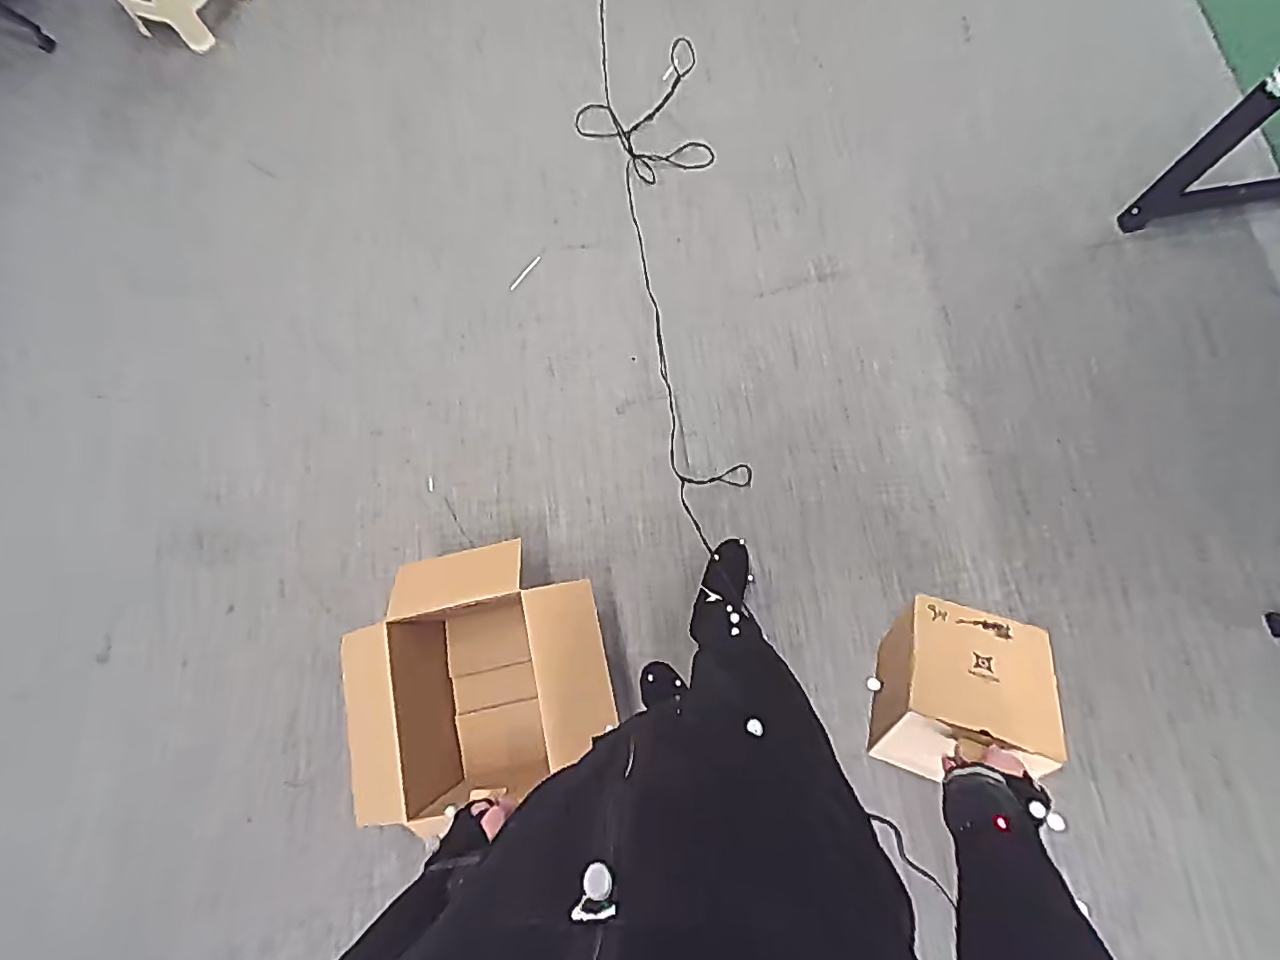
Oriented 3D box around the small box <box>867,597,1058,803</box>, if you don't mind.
[{"bbox_3d":[0.418,0.296,0.724,0.168,0.176,0.179,18,48,16],"label":"small box"}]
